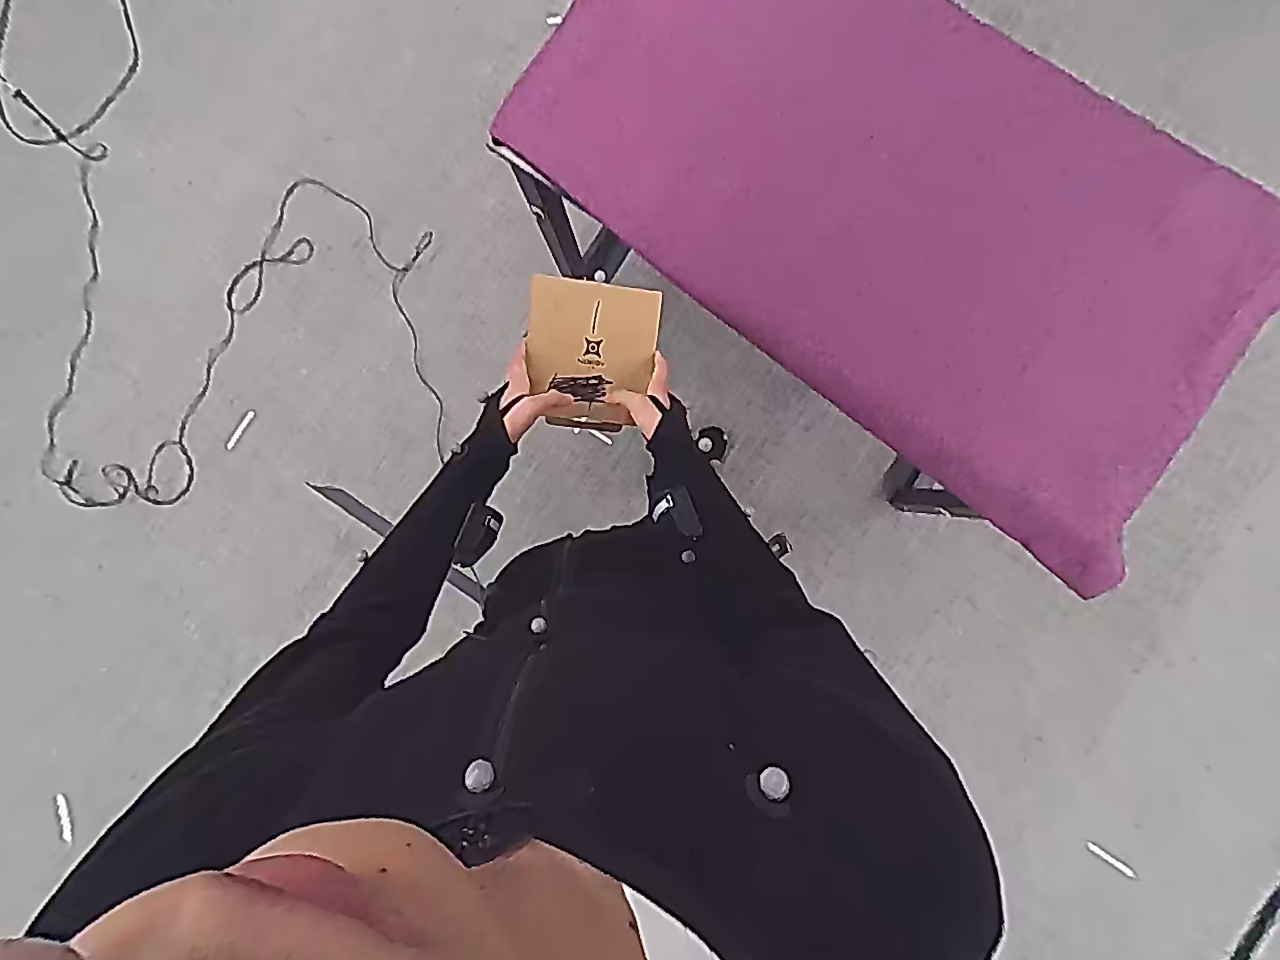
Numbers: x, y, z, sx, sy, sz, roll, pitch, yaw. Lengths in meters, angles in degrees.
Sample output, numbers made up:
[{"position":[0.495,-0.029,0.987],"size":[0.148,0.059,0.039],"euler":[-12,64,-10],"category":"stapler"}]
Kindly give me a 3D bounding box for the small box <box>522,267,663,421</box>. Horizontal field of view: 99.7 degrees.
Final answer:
[{"position":[-0.072,-0.196,0.767],"size":[0.168,0.176,0.179],"euler":[5,109,-10],"category":"small box"}]
